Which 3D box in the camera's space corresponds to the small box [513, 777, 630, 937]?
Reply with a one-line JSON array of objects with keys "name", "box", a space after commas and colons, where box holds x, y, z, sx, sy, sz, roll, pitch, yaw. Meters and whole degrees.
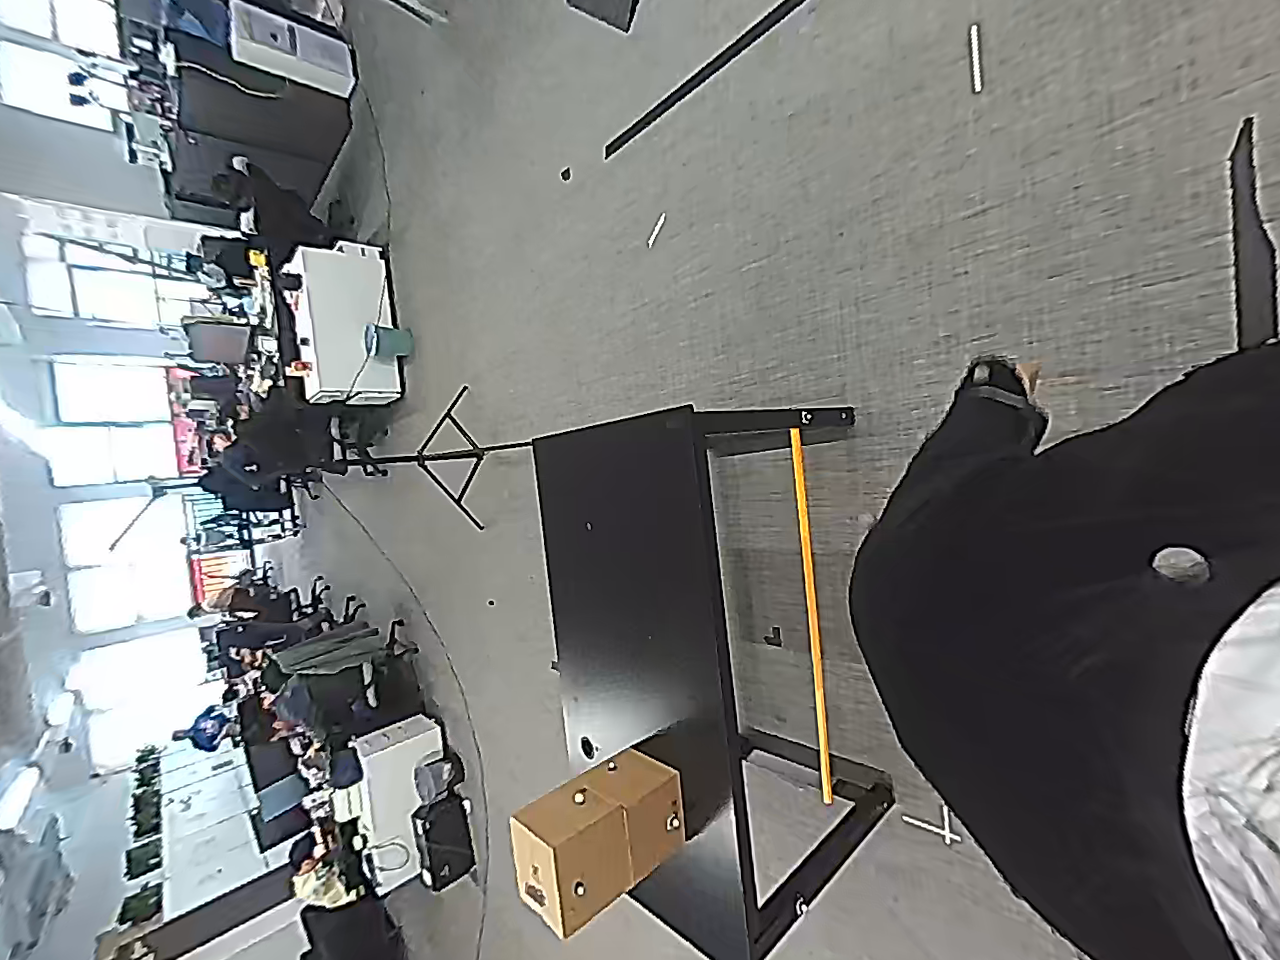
[{"name": "small box", "box": [-0.136, 0.751, 1.100, 0.168, 0.176, 0.179, -6, 91, 48]}]

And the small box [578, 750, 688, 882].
[{"name": "small box", "box": [-0.015, 0.734, 1.210, 0.179, 0.176, 0.168, -5, 93, 48]}]
